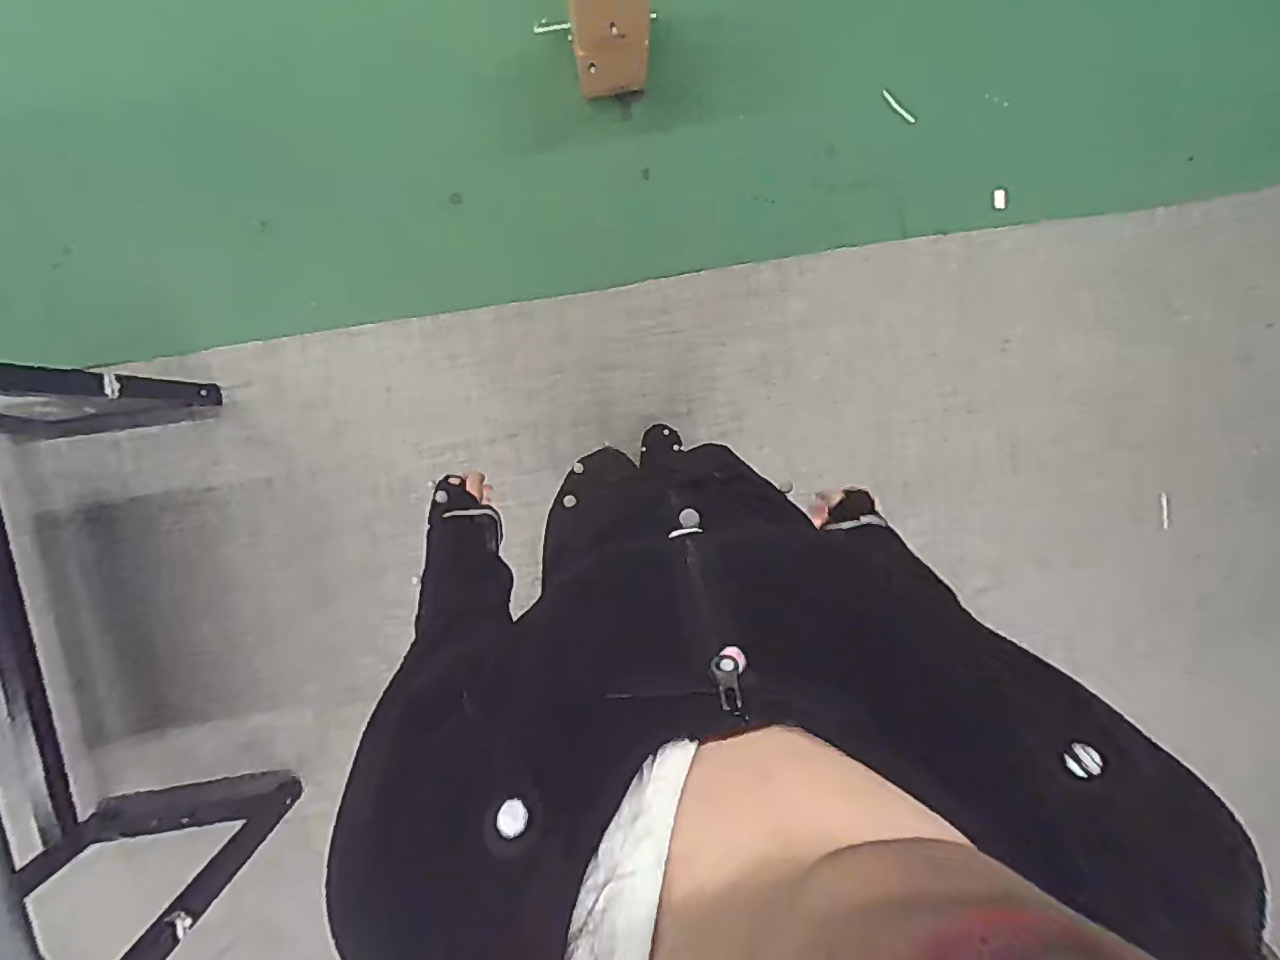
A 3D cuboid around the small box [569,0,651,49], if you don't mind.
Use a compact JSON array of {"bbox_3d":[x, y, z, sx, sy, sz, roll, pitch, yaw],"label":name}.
[{"bbox_3d":[-0.074,-1.071,1.143,0.168,0.176,0.179,-12,95,-1],"label":"small box"}]
